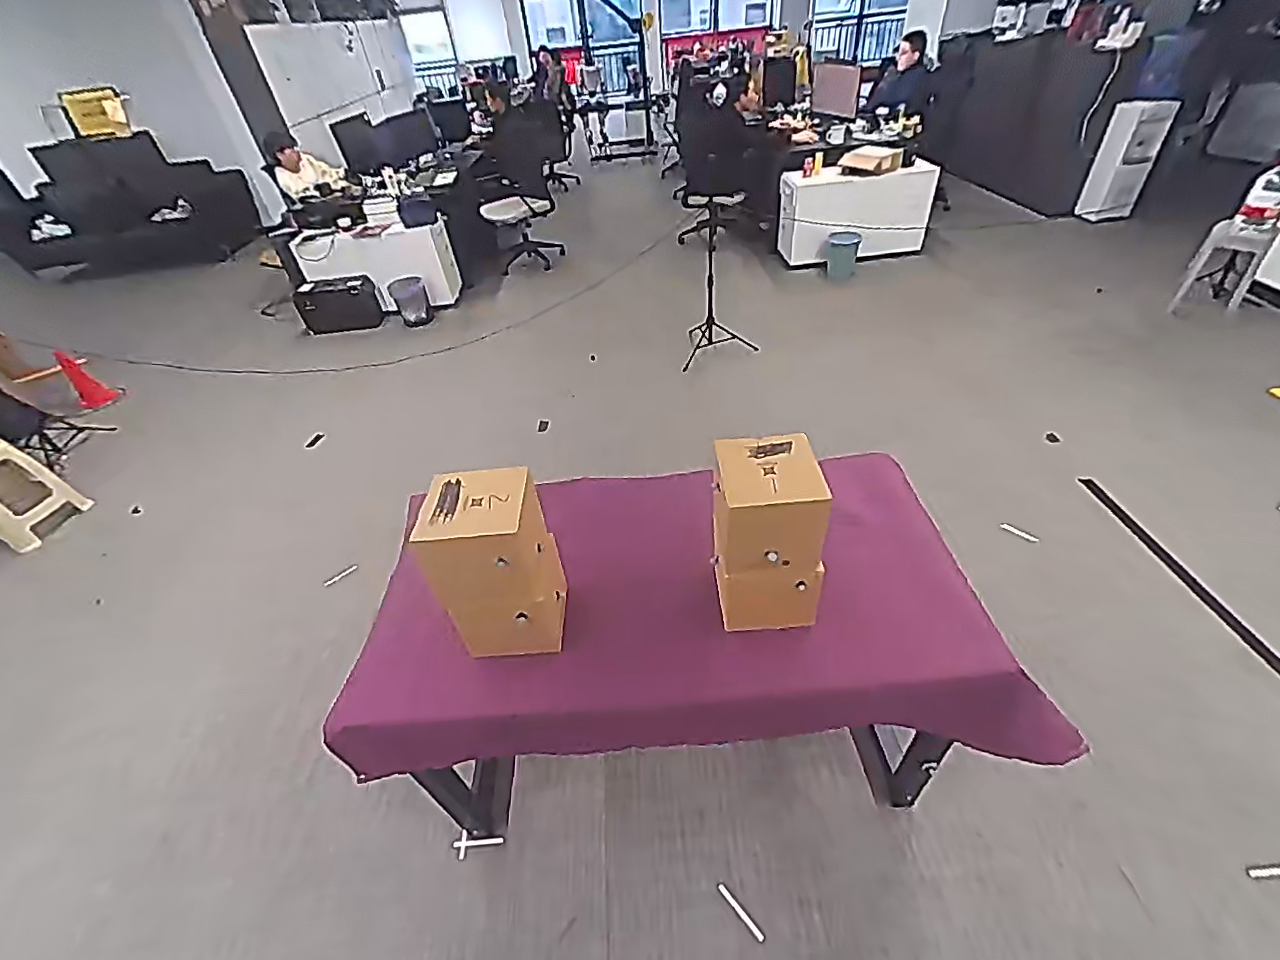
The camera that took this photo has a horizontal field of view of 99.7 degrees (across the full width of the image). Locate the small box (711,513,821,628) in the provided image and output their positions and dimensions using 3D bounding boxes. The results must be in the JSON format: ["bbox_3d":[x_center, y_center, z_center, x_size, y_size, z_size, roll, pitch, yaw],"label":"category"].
[{"bbox_3d":[0.236,0.171,1.050,0.179,0.176,0.168,-5,41,2],"label":"small box"}]

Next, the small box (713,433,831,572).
[{"bbox_3d":[0.219,0.039,0.951,0.168,0.176,0.179,-5,41,2],"label":"small box"}]

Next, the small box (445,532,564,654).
[{"bbox_3d":[-0.250,0.222,1.055,0.179,0.176,0.168,-4,41,3],"label":"small box"}]
